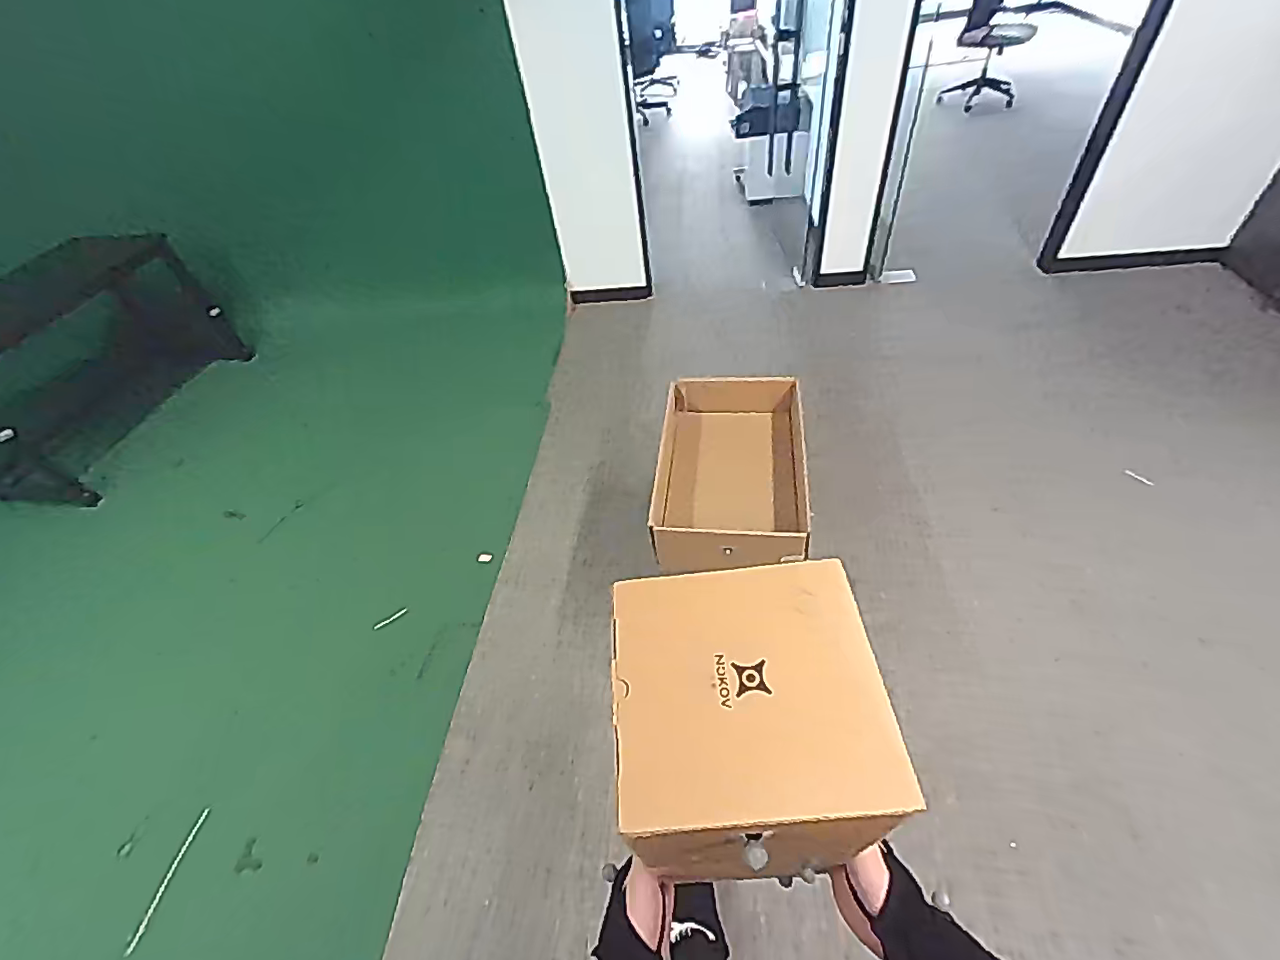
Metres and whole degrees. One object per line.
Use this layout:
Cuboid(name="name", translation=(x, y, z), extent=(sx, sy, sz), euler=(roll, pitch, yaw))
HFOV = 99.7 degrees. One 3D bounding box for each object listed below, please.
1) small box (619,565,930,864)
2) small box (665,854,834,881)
Cuboid(name="small box", translation=(0.081, 0.184, 0.414), extent=(0.179, 0.176, 0.168), euler=(-7, 50, 4))
Cuboid(name="small box", translation=(0.121, 0.386, 0.669), extent=(0.179, 0.176, 0.168), euler=(-5, 49, 5))
